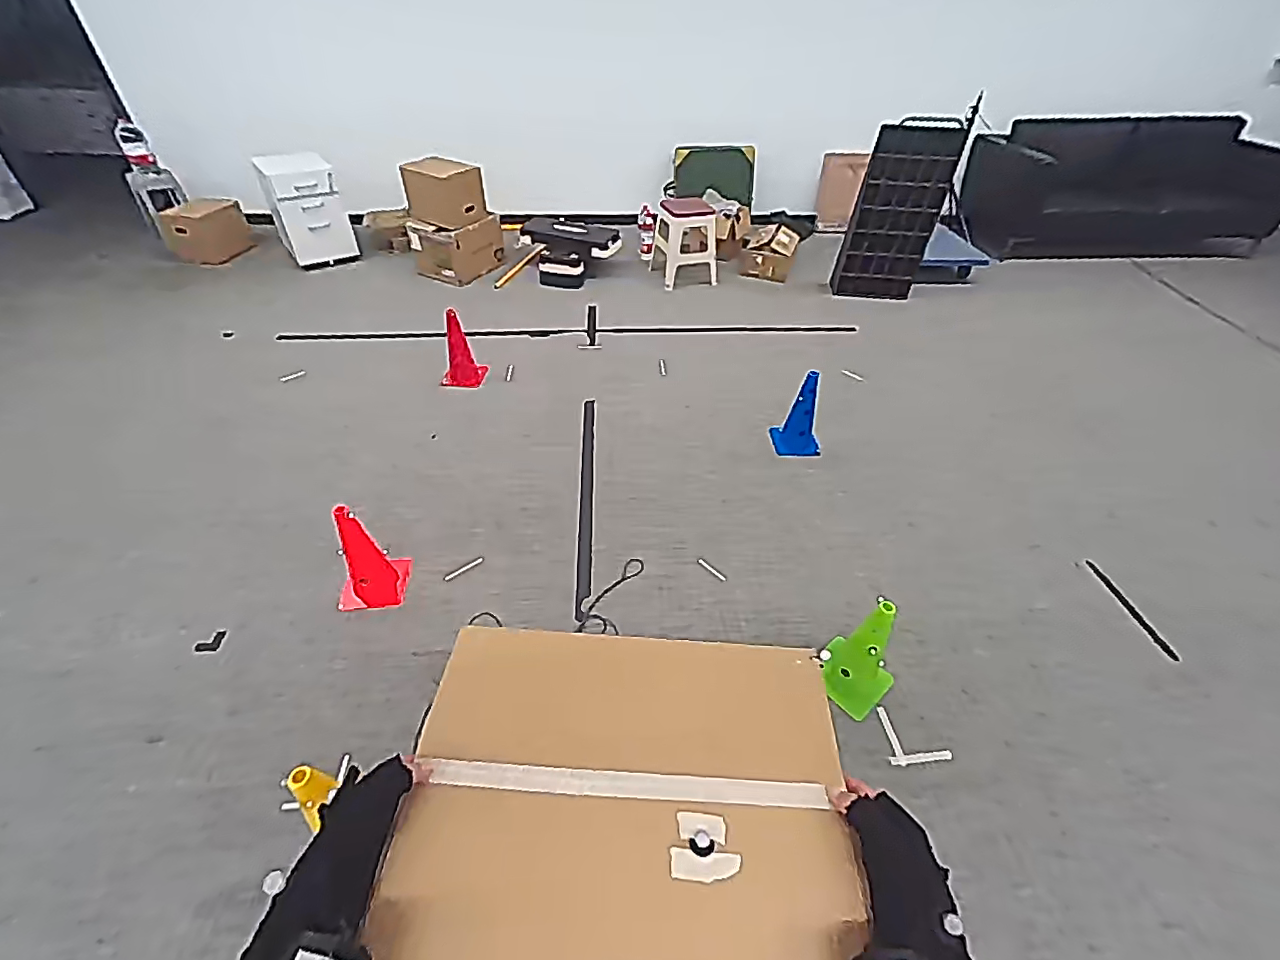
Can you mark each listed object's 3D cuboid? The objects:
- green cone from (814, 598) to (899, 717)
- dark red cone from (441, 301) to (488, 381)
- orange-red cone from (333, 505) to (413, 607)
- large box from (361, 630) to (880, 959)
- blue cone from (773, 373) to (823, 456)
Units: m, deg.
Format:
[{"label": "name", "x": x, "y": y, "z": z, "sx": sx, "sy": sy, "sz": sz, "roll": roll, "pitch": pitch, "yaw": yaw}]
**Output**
[{"label": "green cone", "x": 0.630, "y": 0.452, "z": 1.492, "sx": 0.202, "sy": 0.368, "sz": 0.200, "roll": -28, "pitch": 51, "yaw": -31}, {"label": "dark red cone", "x": -0.882, "y": -0.679, "z": 2.640, "sx": 0.201, "sy": 0.394, "sz": 0.202, "roll": 4, "pitch": 42, "yaw": 0}, {"label": "orange-red cone", "x": -0.875, "y": 0.215, "z": 1.695, "sx": 0.198, "sy": 0.360, "sz": 0.199, "roll": -4, "pitch": 44, "yaw": -5}, {"label": "large box", "x": -0.014, "y": 0.396, "z": 0.602, "sx": 0.408, "sy": 0.320, "sz": 0.320, "roll": 4, "pitch": 42, "yaw": 1}, {"label": "blue cone", "x": 0.715, "y": -0.293, "z": 2.339, "sx": 0.192, "sy": 0.380, "sz": 0.193, "roll": 2, "pitch": 43, "yaw": -2}]
